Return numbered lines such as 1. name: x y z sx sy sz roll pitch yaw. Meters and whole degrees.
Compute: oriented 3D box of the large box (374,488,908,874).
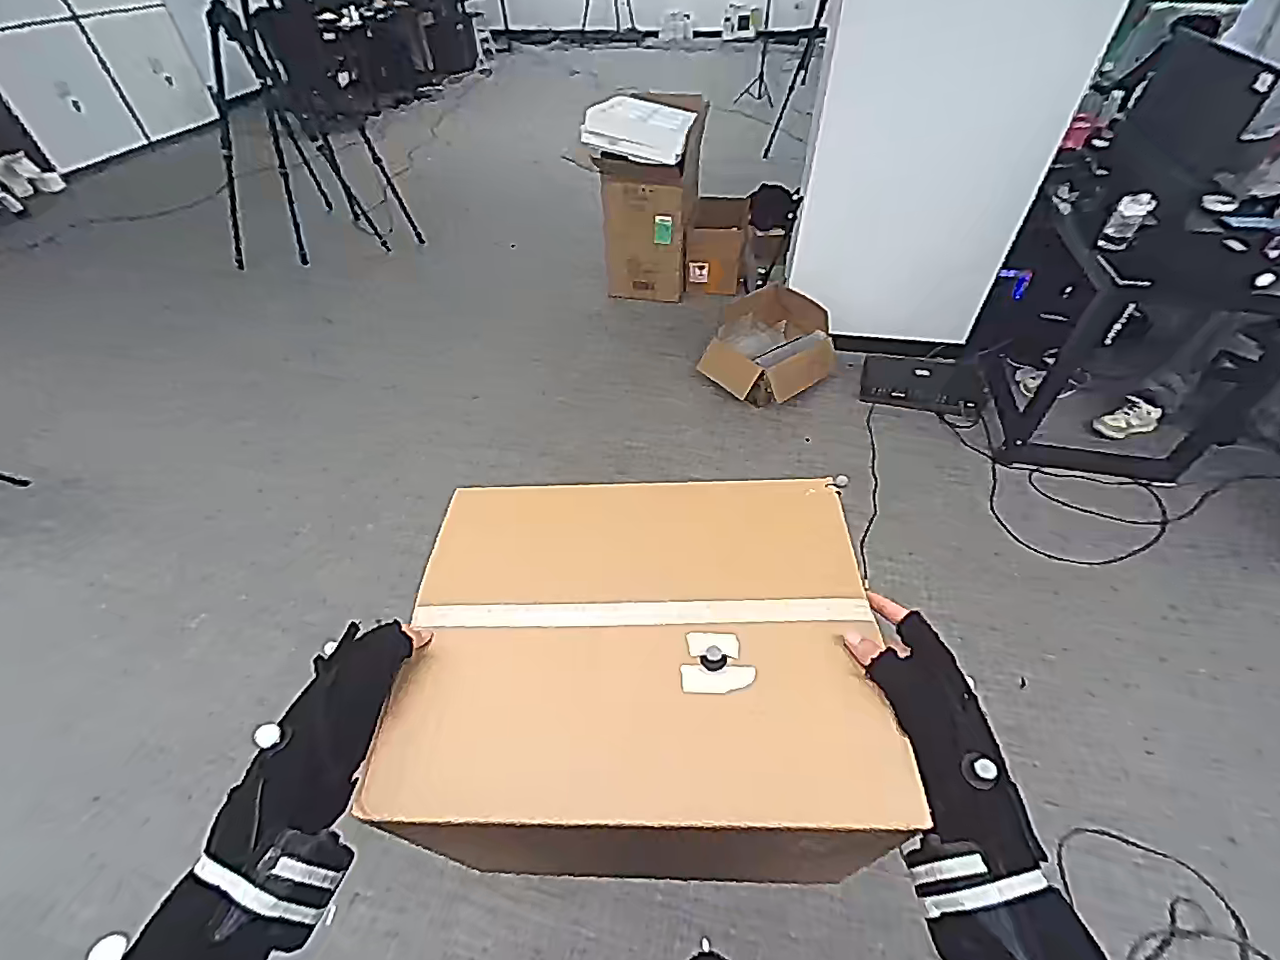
1. large box: 0.005 0.228 0.603 0.408 0.320 0.320 -1 48 3
